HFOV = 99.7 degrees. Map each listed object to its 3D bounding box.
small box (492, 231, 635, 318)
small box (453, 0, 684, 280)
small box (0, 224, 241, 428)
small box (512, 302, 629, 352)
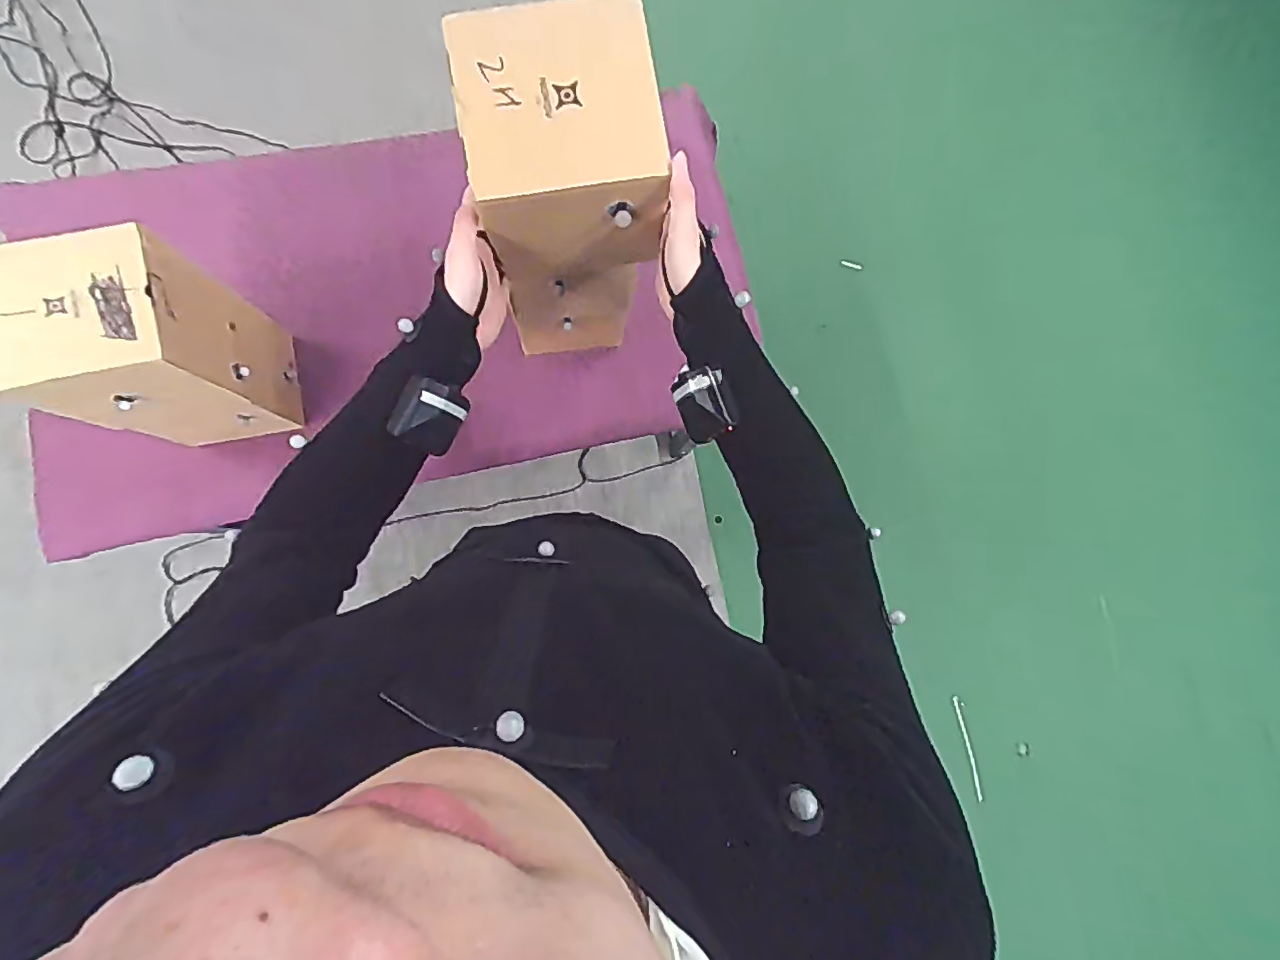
[{"bbox_3d":[-0.101,-0.333,0.734,0.179,0.176,0.168,-7,84,-6],"label":"small box"},{"bbox_3d":[-0.066,-0.319,0.539,0.179,0.176,0.168,-10,89,-4],"label":"small box"},{"bbox_3d":[-0.619,-0.172,0.648,0.179,0.176,0.168,-15,84,-8],"label":"small box"},{"bbox_3d":[-0.122,-0.324,0.898,0.179,0.176,0.168,-7,84,-7],"label":"small box"}]
